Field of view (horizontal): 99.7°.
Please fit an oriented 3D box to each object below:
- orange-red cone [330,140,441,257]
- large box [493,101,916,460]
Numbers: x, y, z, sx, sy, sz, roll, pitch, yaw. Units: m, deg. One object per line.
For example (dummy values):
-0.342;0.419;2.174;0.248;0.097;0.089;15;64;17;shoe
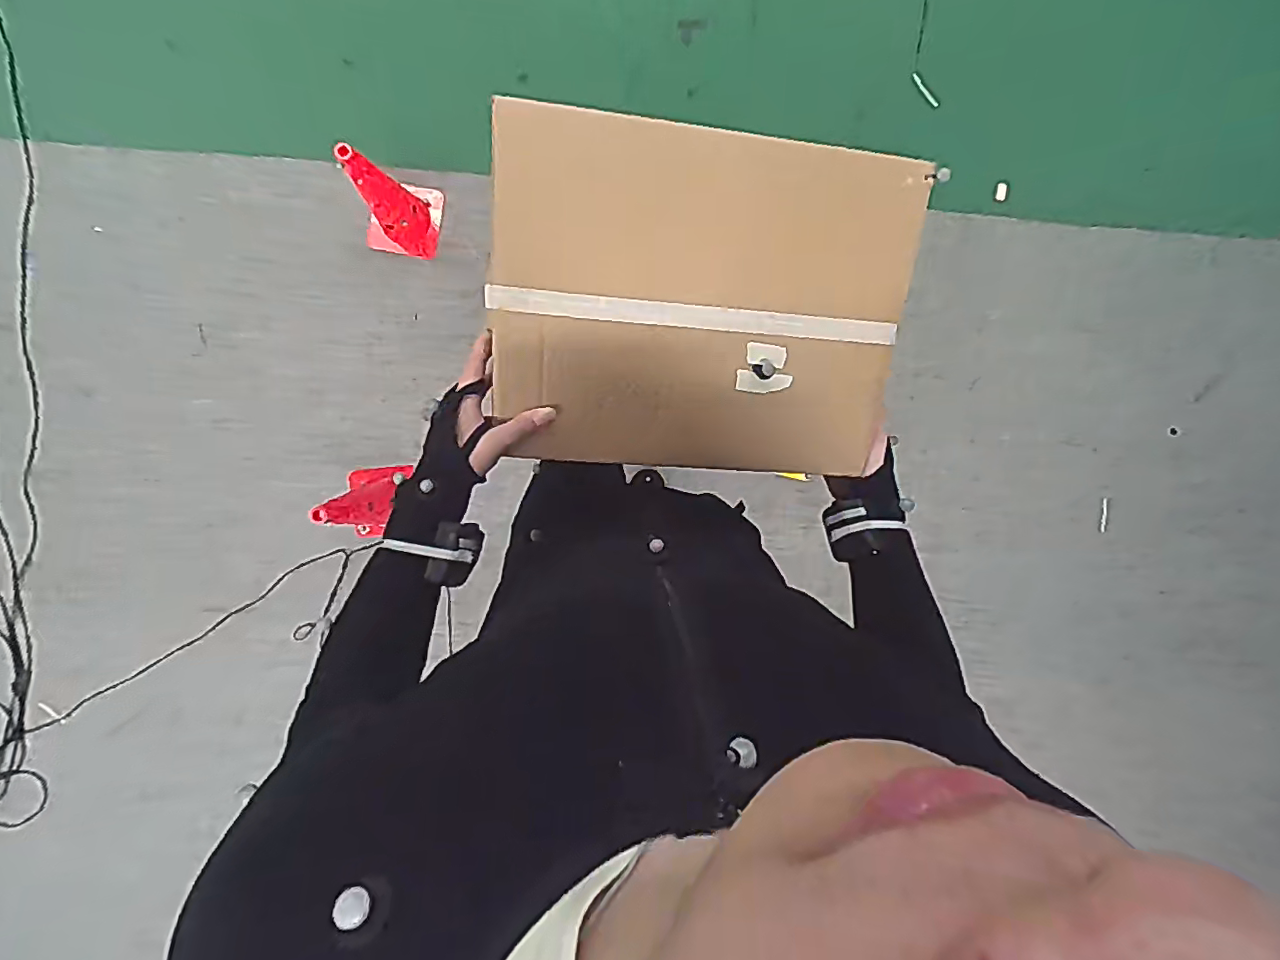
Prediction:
-0.685;-0.751;1.391;0.199;0.360;0.198;11;91;-1;orange-red cone
0.038;-0.220;0.674;0.408;0.320;0.320;2;110;-9;large box
